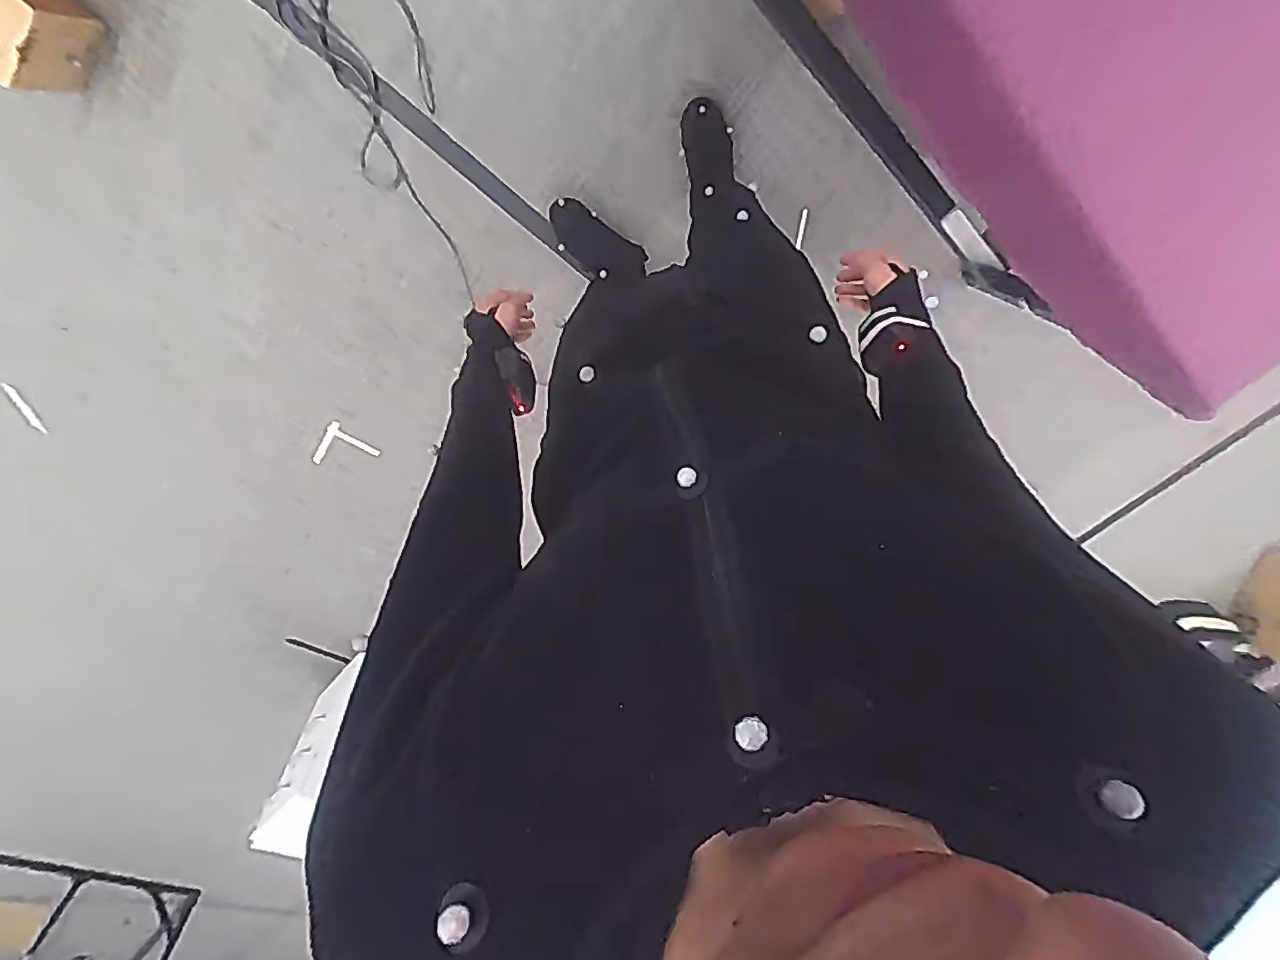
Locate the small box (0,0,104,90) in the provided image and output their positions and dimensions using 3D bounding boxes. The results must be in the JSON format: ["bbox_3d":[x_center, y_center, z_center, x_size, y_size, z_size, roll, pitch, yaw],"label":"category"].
[{"bbox_3d":[-1.186,-0.868,1.011,0.168,0.176,0.179,-40,119,21],"label":"small box"}]
